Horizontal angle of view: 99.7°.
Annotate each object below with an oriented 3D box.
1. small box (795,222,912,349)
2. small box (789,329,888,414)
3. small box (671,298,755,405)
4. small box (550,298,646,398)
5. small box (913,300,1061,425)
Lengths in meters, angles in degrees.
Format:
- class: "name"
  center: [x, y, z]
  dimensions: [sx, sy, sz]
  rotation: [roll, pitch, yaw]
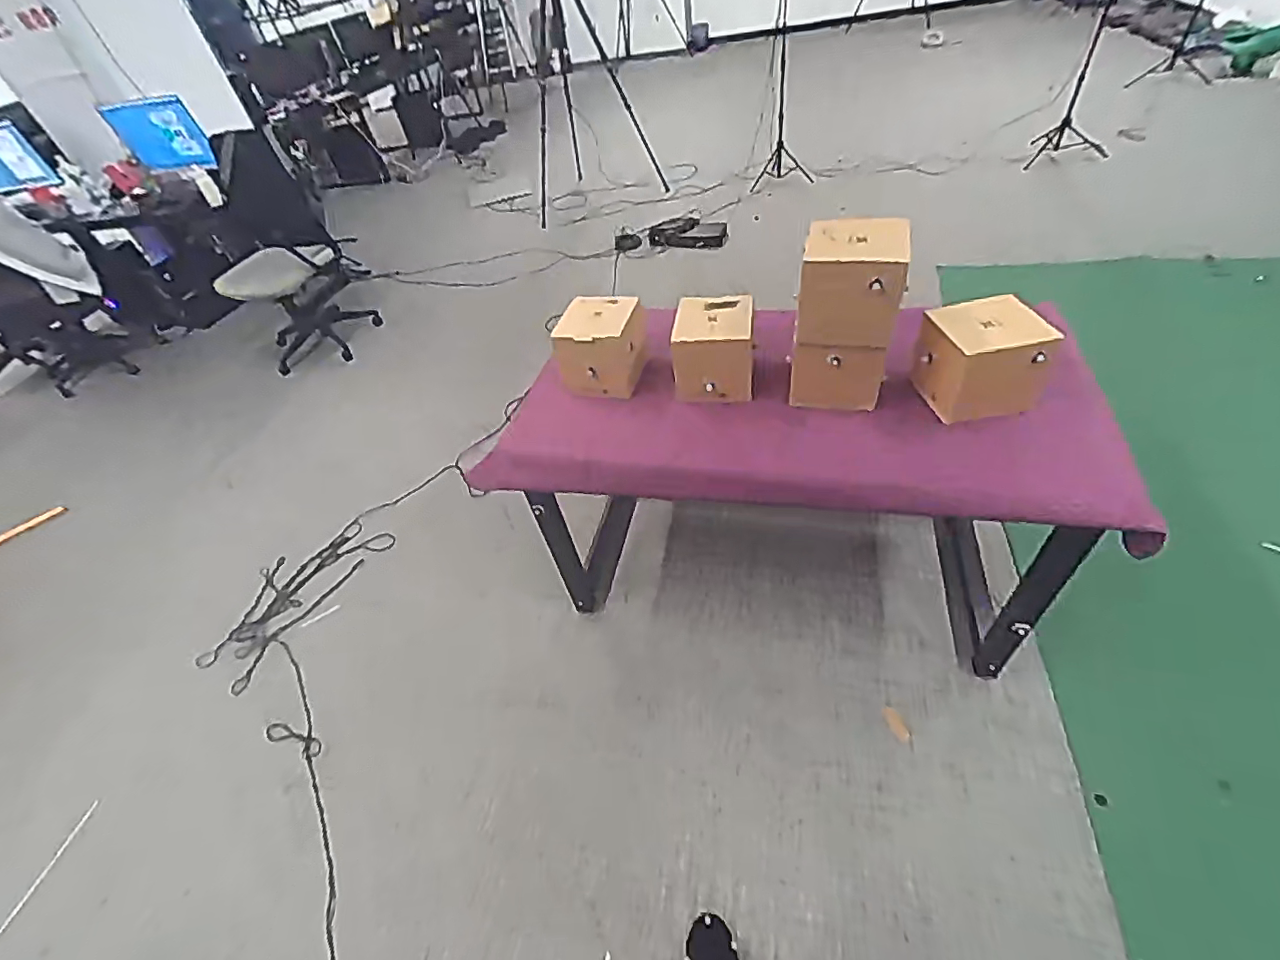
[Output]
- class: "small box"
  center: [0.396, -0.363, 1.014]
  dimensions: [0.179, 0.176, 0.168]
  rotation: [8, 49, 18]
- class: "small box"
  center: [0.415, -0.257, 1.139]
  dimensions: [0.179, 0.176, 0.168]
  rotation: [8, 49, 17]
- class: "small box"
  center: [0.168, -0.288, 1.212]
  dimensions: [0.168, 0.176, 0.179]
  rotation: [2, 48, 13]
- class: "small box"
  center: [-0.090, -0.312, 1.284]
  dimensions: [0.168, 0.176, 0.179]
  rotation: [7, 49, 16]
- class: "small box"
  center: [0.661, -0.226, 1.063]
  dimensions: [0.179, 0.176, 0.168]
  rotation: [-10, 45, 2]
